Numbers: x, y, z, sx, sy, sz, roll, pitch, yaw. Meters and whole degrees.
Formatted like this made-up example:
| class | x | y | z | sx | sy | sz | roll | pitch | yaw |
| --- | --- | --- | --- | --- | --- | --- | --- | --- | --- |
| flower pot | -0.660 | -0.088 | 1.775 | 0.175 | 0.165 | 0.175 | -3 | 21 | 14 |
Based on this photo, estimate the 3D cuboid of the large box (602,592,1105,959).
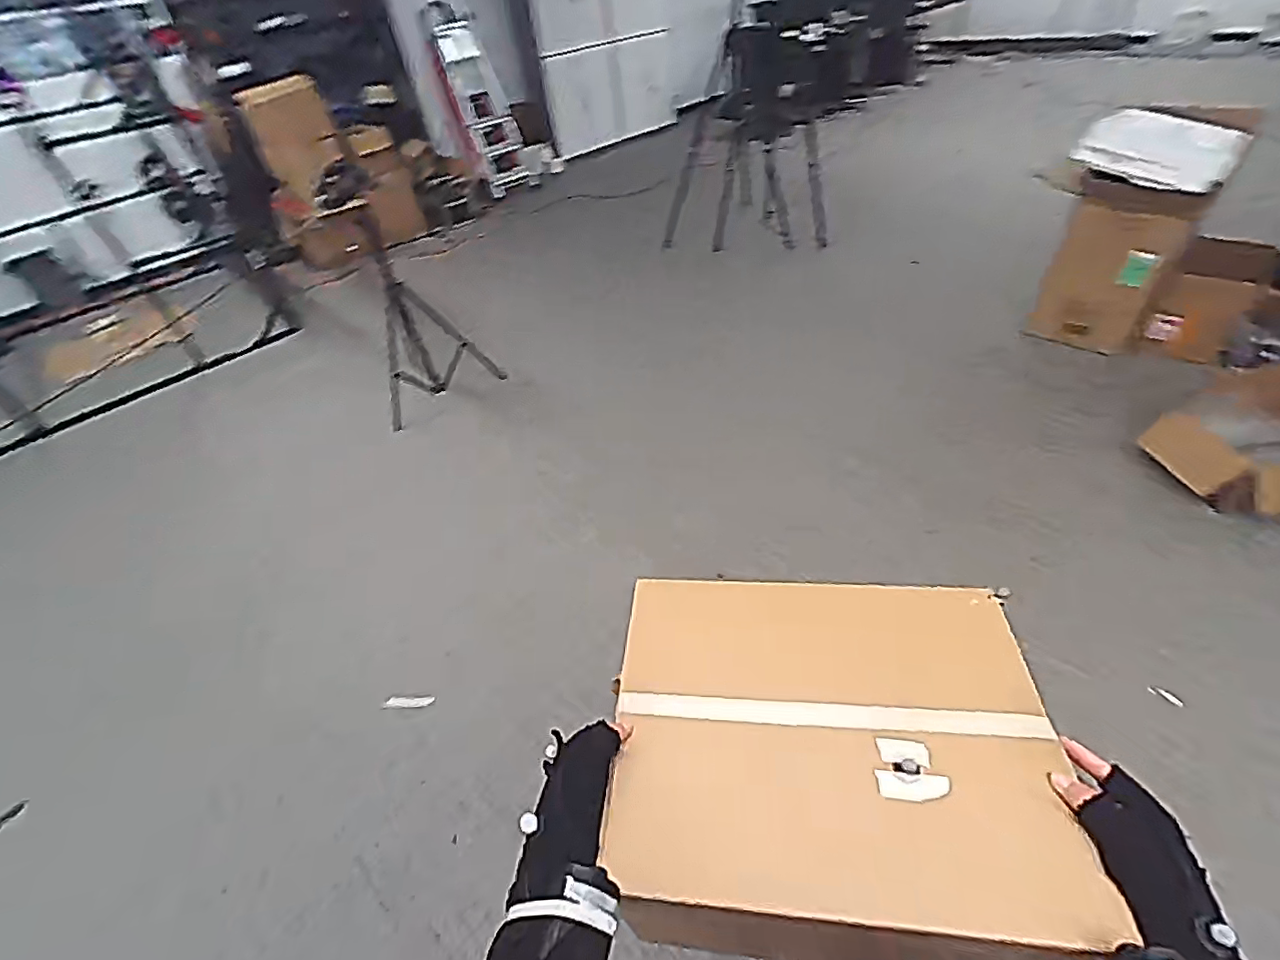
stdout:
| class | x | y | z | sx | sy | sz | roll | pitch | yaw |
| --- | --- | --- | --- | --- | --- | --- | --- | --- | --- |
| large box | 0.187 | 0.349 | 0.643 | 0.408 | 0.320 | 0.320 | -1 | 44 | 8 |
